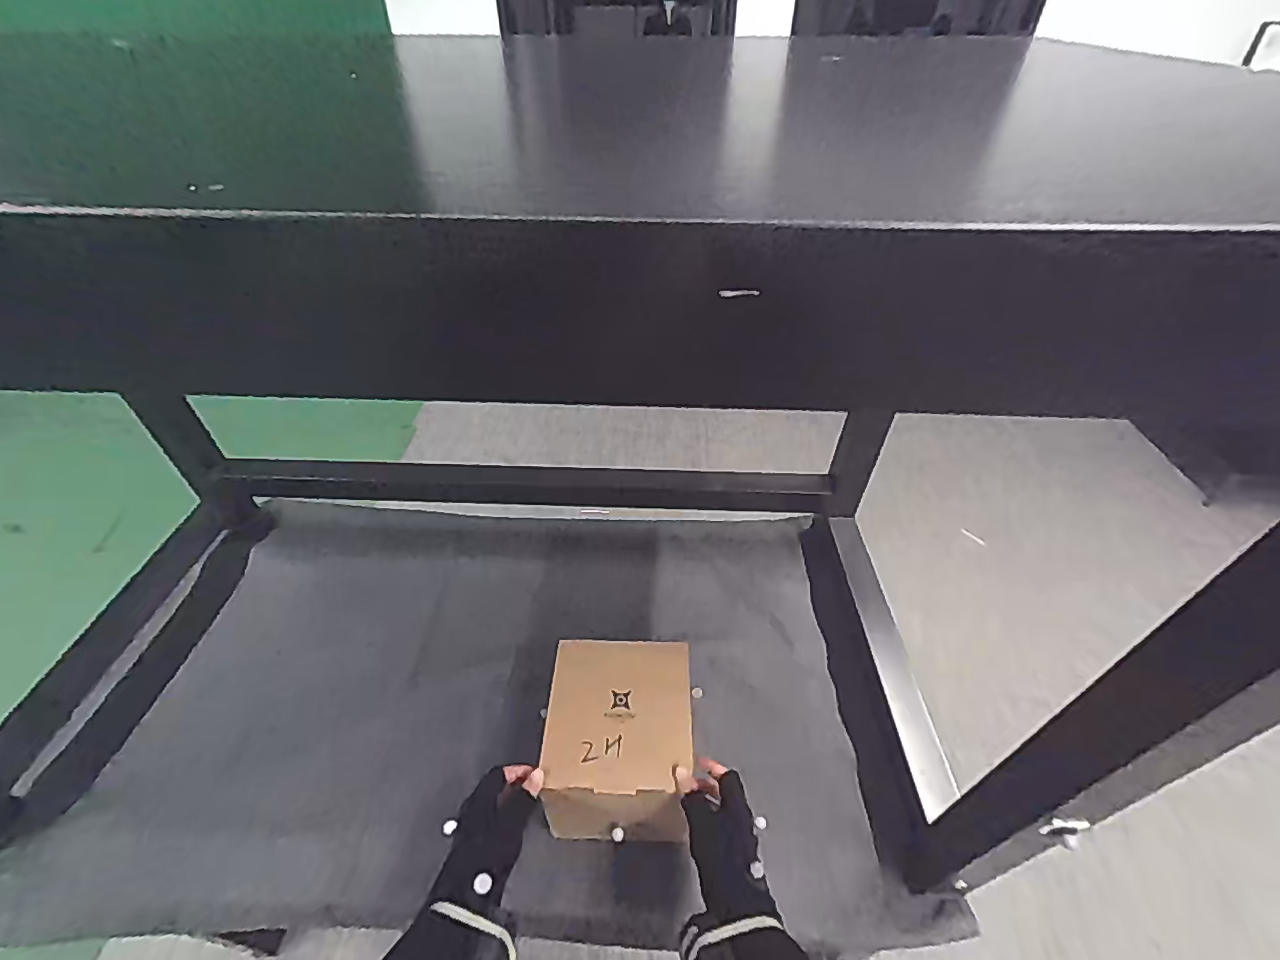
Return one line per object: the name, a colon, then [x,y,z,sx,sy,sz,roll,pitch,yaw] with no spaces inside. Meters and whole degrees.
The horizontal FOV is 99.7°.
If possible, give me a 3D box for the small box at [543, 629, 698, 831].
small box: [-0.018,0.309,0.676,0.168,0.176,0.179,1,42,2]
